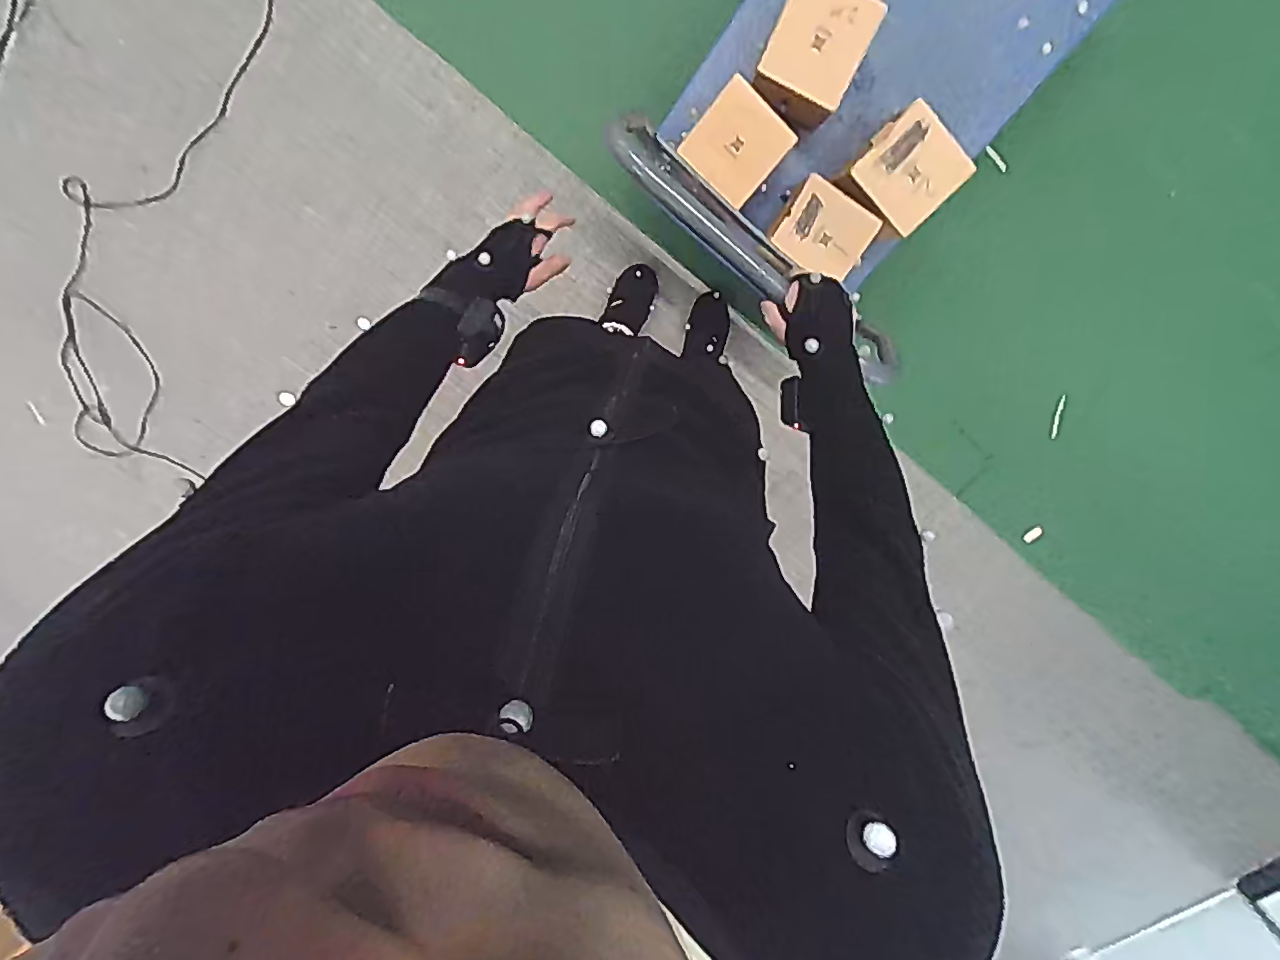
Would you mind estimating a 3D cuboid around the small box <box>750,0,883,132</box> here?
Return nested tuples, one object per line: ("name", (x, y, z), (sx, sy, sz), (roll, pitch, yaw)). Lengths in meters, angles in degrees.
("small box", (0.325, -0.809, 1.040), (0.168, 0.176, 0.179), (25, 112, -6))
